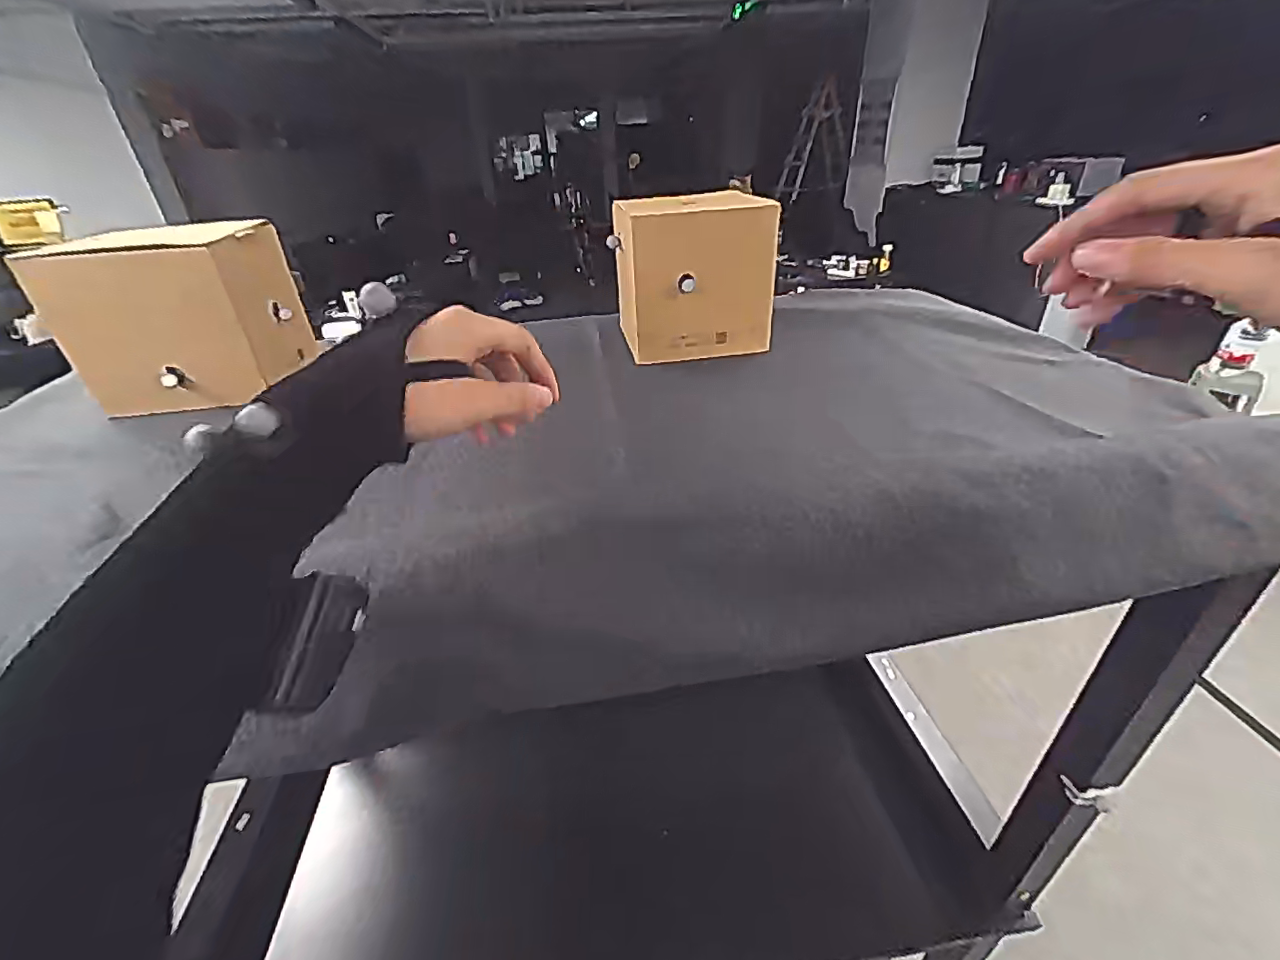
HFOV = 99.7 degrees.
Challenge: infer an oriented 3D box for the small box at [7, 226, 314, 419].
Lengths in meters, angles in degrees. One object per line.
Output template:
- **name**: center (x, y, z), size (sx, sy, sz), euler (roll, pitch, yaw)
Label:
- **small box**: center (-0.508, -0.182, 0.615), size (0.179, 0.176, 0.168), euler (-7, 32, -8)

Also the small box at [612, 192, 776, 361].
- **small box**: center (0.061, -0.255, 0.681), size (0.168, 0.176, 0.179), euler (-7, 32, -6)
